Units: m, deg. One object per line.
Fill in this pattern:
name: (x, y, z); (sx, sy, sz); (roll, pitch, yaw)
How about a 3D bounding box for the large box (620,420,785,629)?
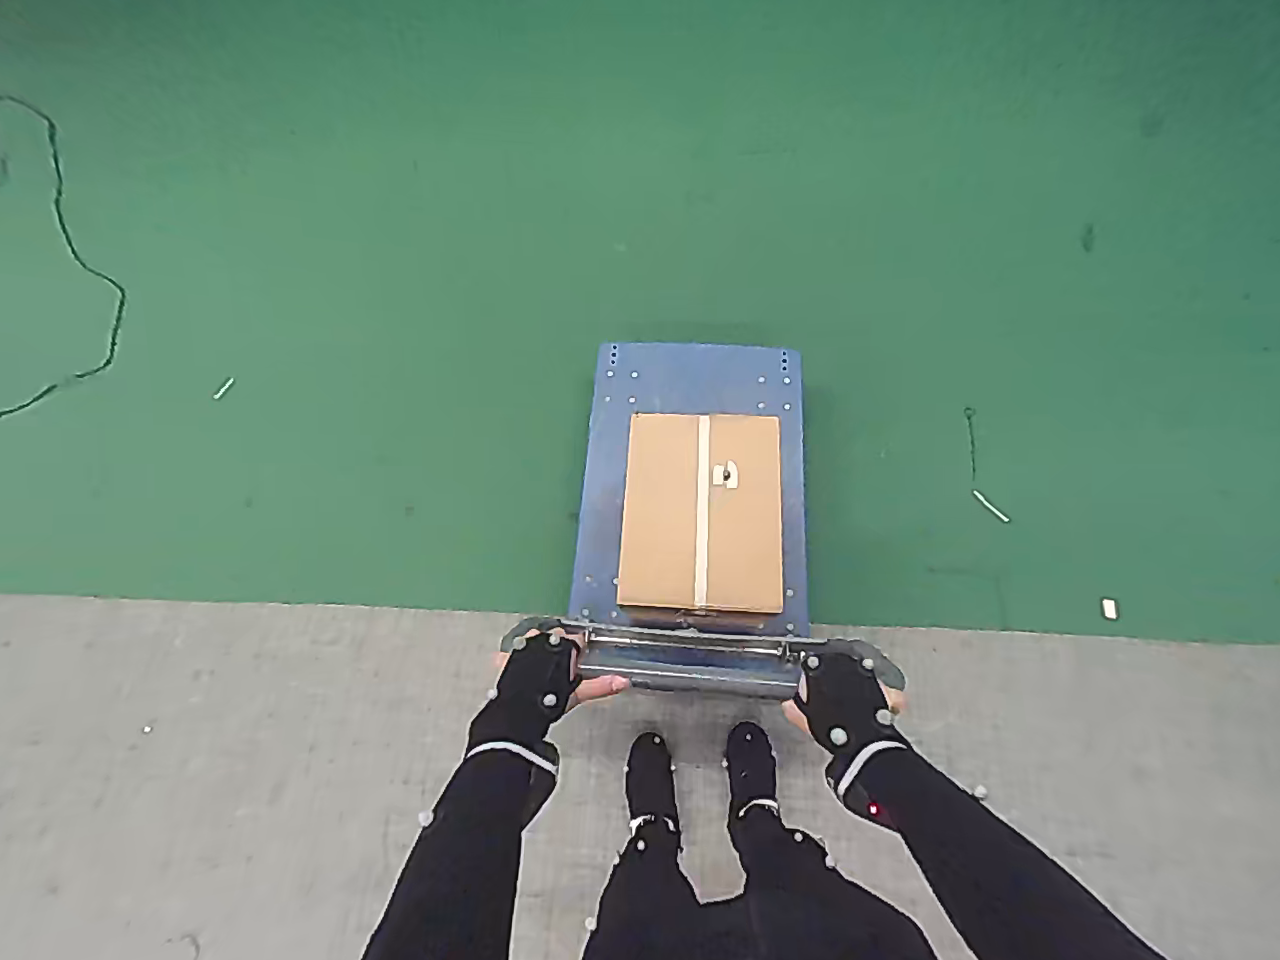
large box: (0.137, 0.115, 1.218); (0.320, 0.320, 0.408); (3, 70, 5)
